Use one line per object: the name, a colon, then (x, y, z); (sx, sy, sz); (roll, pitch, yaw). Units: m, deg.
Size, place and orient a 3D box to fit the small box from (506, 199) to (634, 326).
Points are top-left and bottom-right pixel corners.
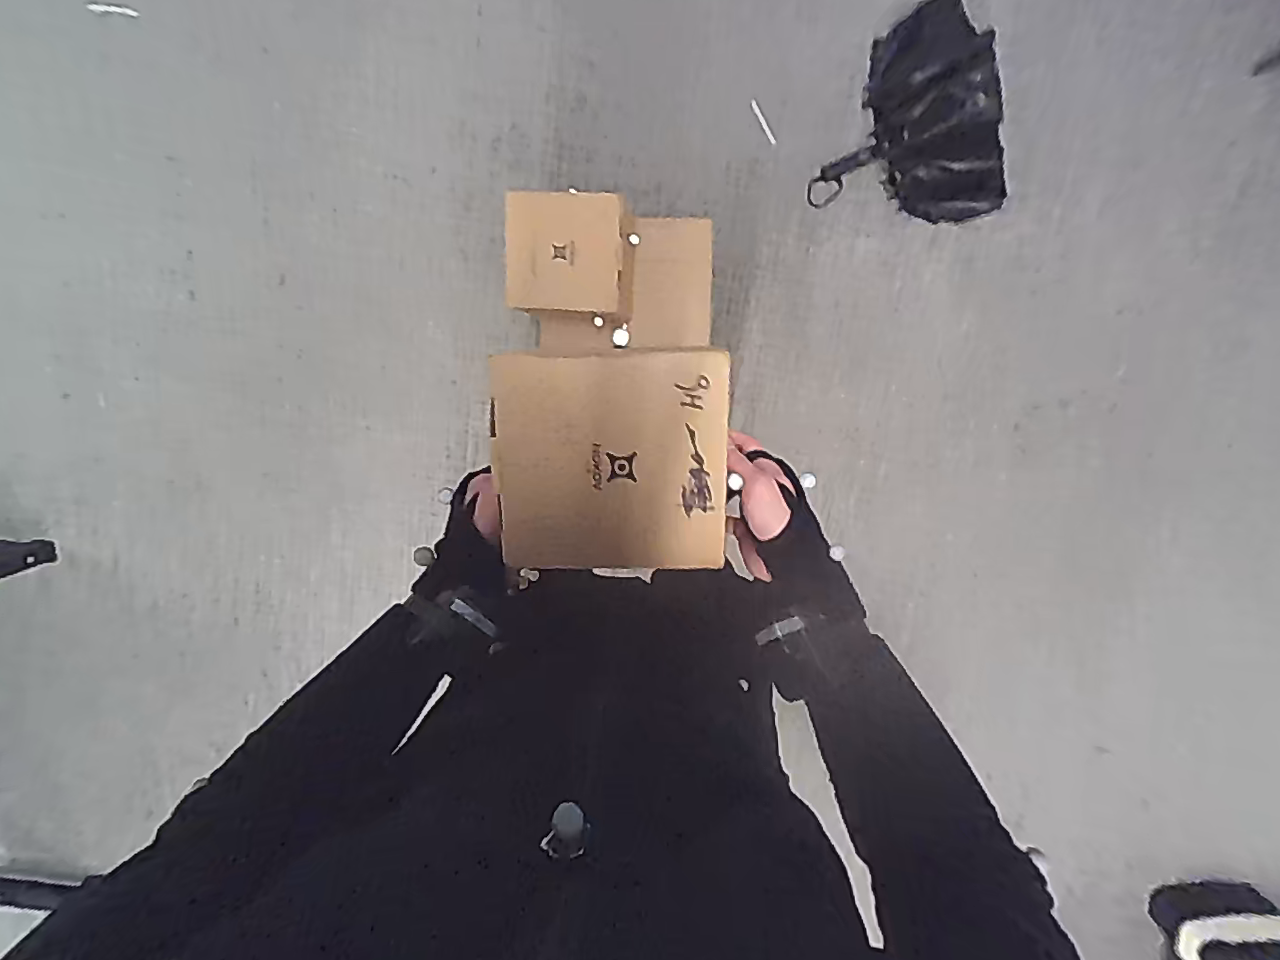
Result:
small box: (-0.105, -0.344, 0.879); (0.179, 0.176, 0.168); (3, 102, 7)
